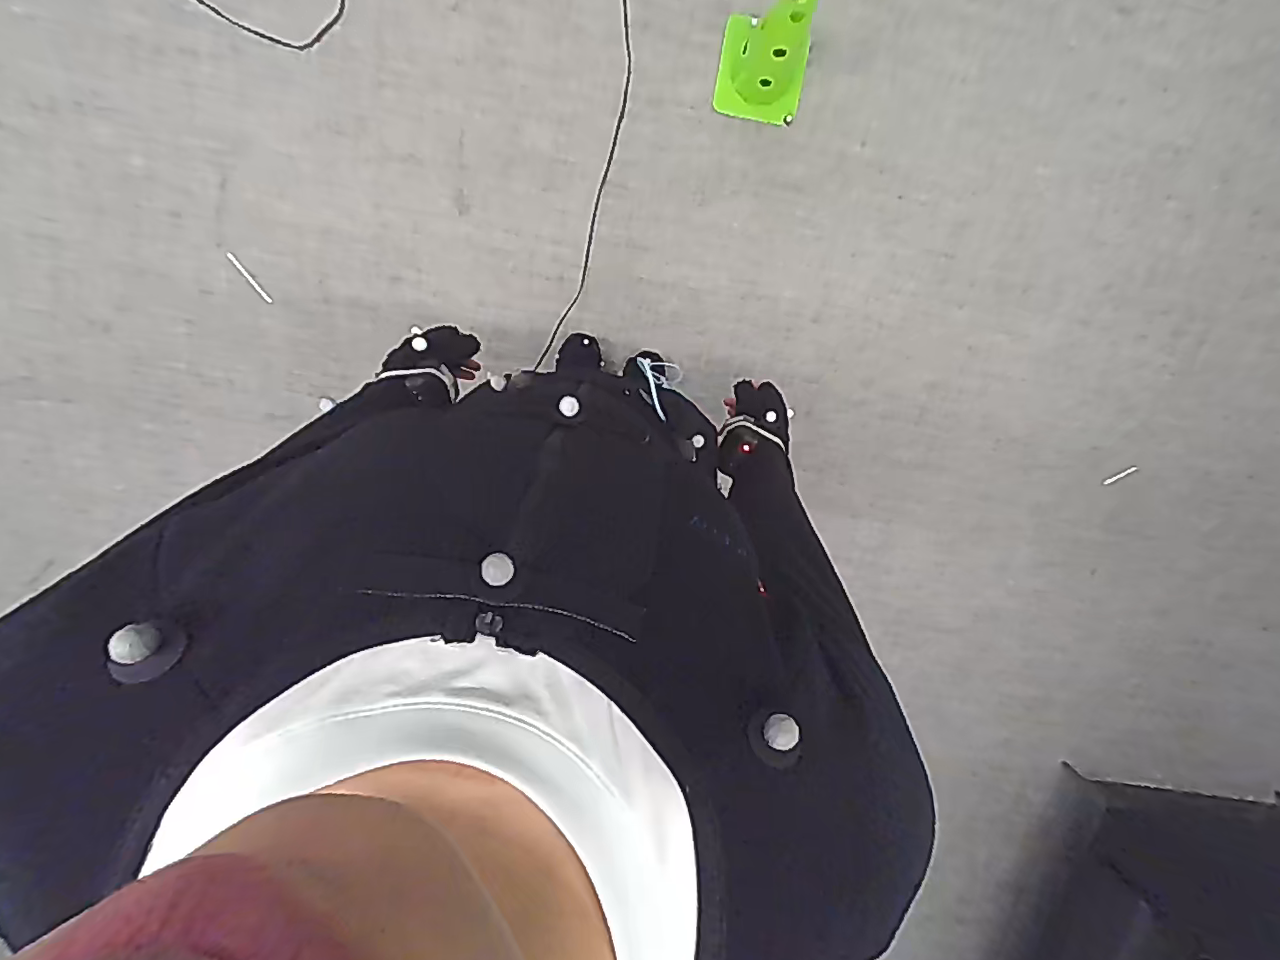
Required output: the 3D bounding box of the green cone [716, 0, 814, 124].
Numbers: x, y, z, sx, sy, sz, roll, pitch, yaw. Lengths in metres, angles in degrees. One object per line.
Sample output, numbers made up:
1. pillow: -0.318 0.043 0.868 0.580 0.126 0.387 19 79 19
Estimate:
1. green cone: 0.291 -0.911 1.090 0.202 0.368 0.200 9 104 -3
